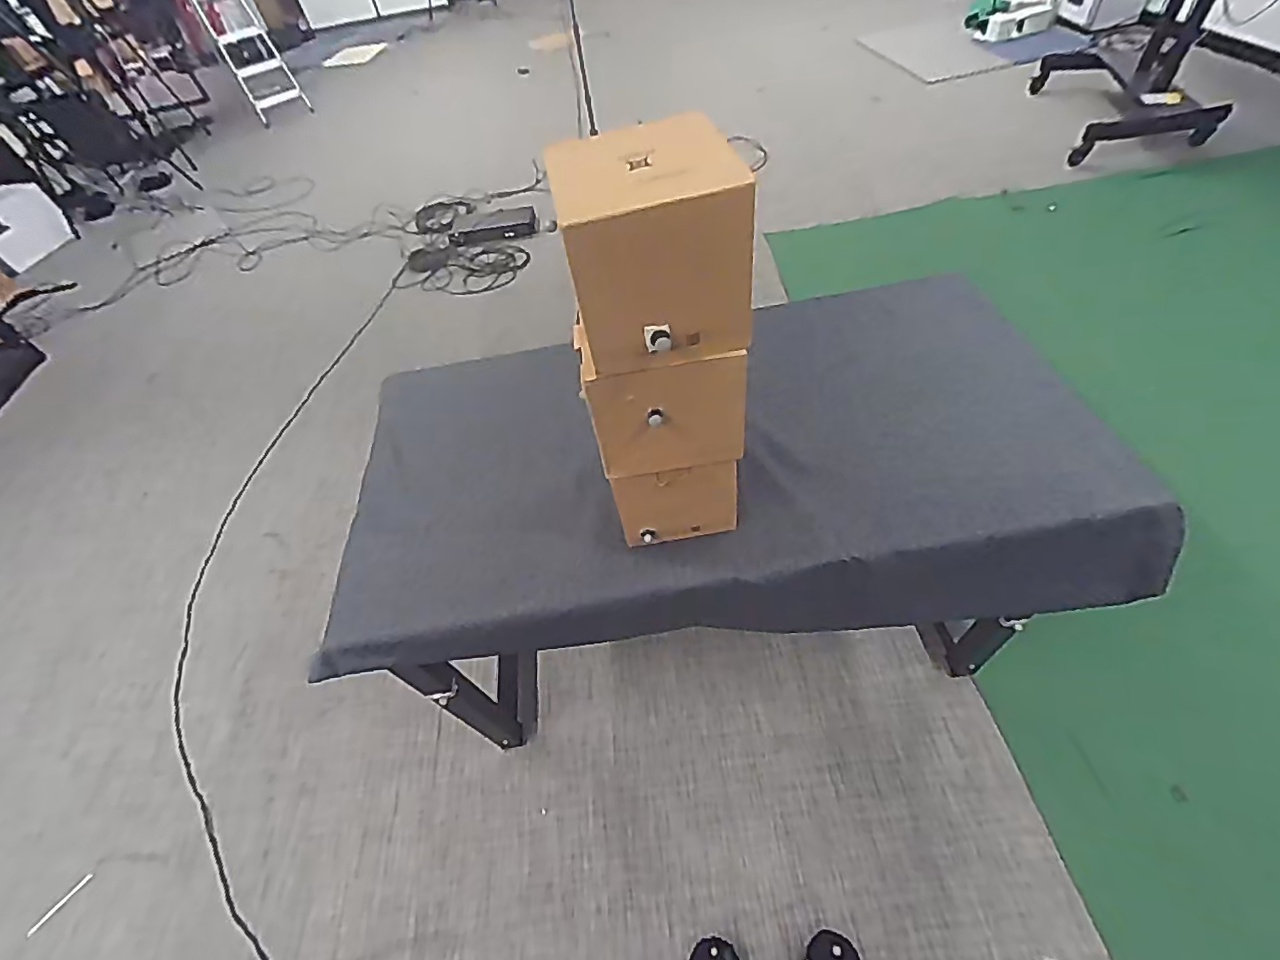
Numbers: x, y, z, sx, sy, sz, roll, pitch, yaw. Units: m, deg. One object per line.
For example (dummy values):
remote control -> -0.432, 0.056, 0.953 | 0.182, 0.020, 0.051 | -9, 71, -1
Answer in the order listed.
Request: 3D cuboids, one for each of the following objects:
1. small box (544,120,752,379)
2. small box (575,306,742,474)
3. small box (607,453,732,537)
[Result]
small box -> 0.008, -0.234, 0.557 | 0.168, 0.176, 0.179 | -14, 51, -1
small box -> 0.025, -0.126, 0.681 | 0.179, 0.176, 0.168 | -11, 48, -1
small box -> 0.042, -0.030, 0.809 | 0.168, 0.176, 0.179 | -10, 50, 2
